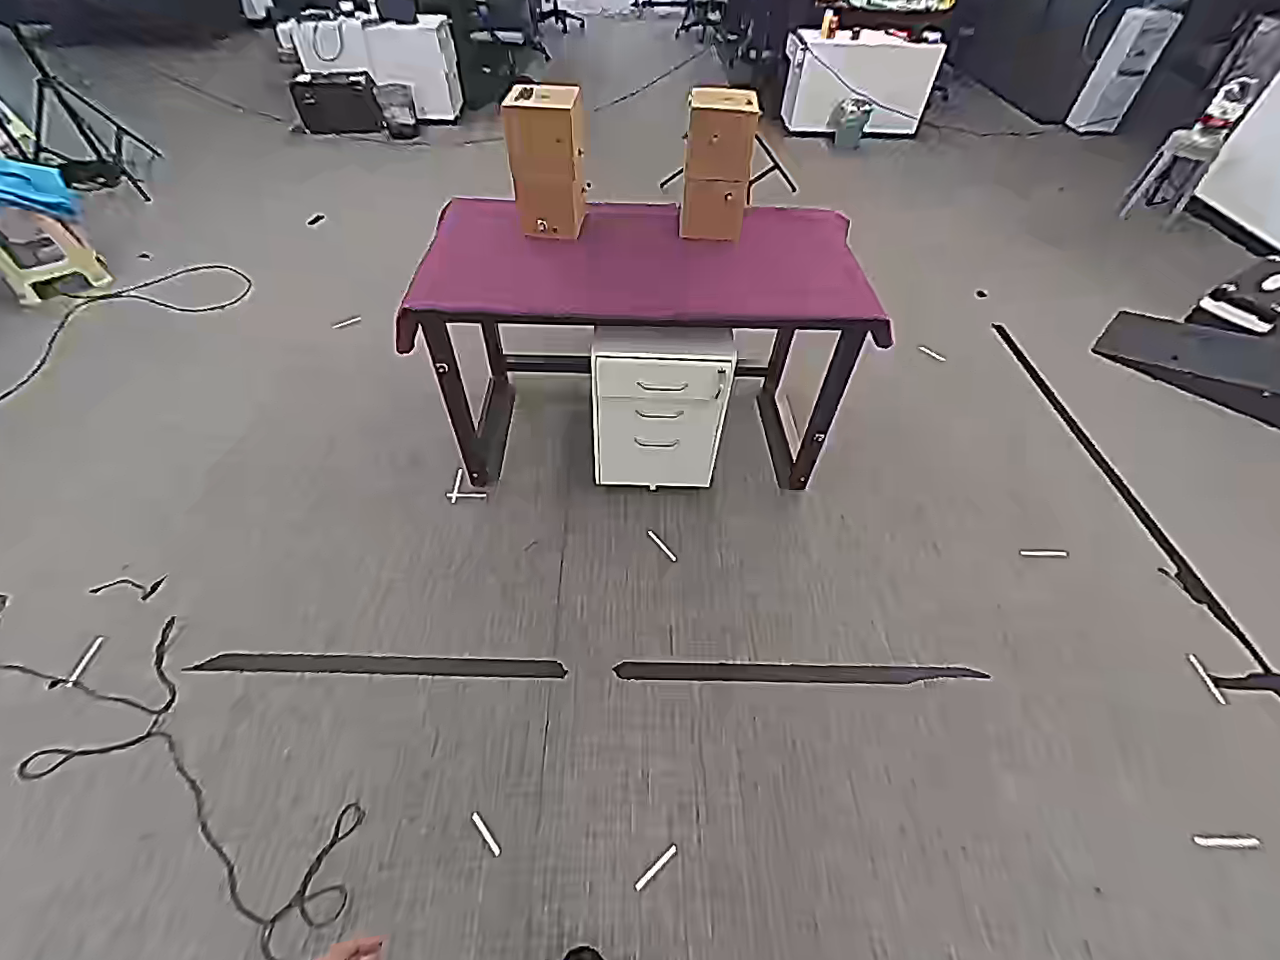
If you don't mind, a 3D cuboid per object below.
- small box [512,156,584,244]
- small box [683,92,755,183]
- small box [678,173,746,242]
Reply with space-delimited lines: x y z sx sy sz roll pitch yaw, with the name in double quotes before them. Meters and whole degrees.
"small box" -0.258 -0.810 1.566 0.168 0.176 0.179 4 52 3
"small box" 0.209 -0.927 1.465 0.179 0.176 0.168 4 51 2
"small box" 0.206 -0.820 1.590 0.179 0.176 0.168 3 50 1
